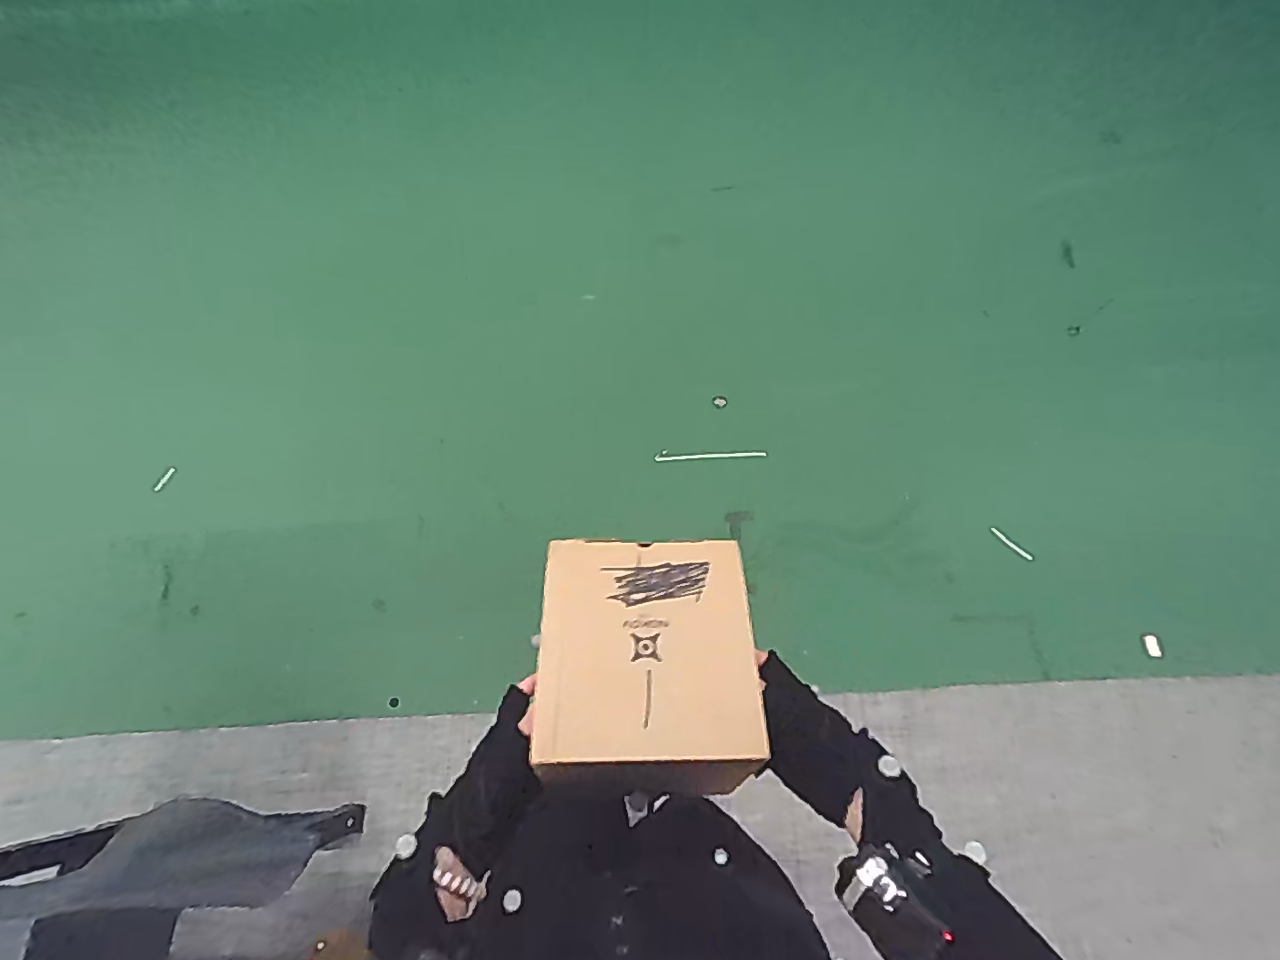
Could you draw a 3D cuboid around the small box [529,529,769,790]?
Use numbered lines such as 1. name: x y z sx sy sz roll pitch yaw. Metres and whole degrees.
1. small box: 0.002 0.160 0.475 0.168 0.176 0.179 0 53 -2
